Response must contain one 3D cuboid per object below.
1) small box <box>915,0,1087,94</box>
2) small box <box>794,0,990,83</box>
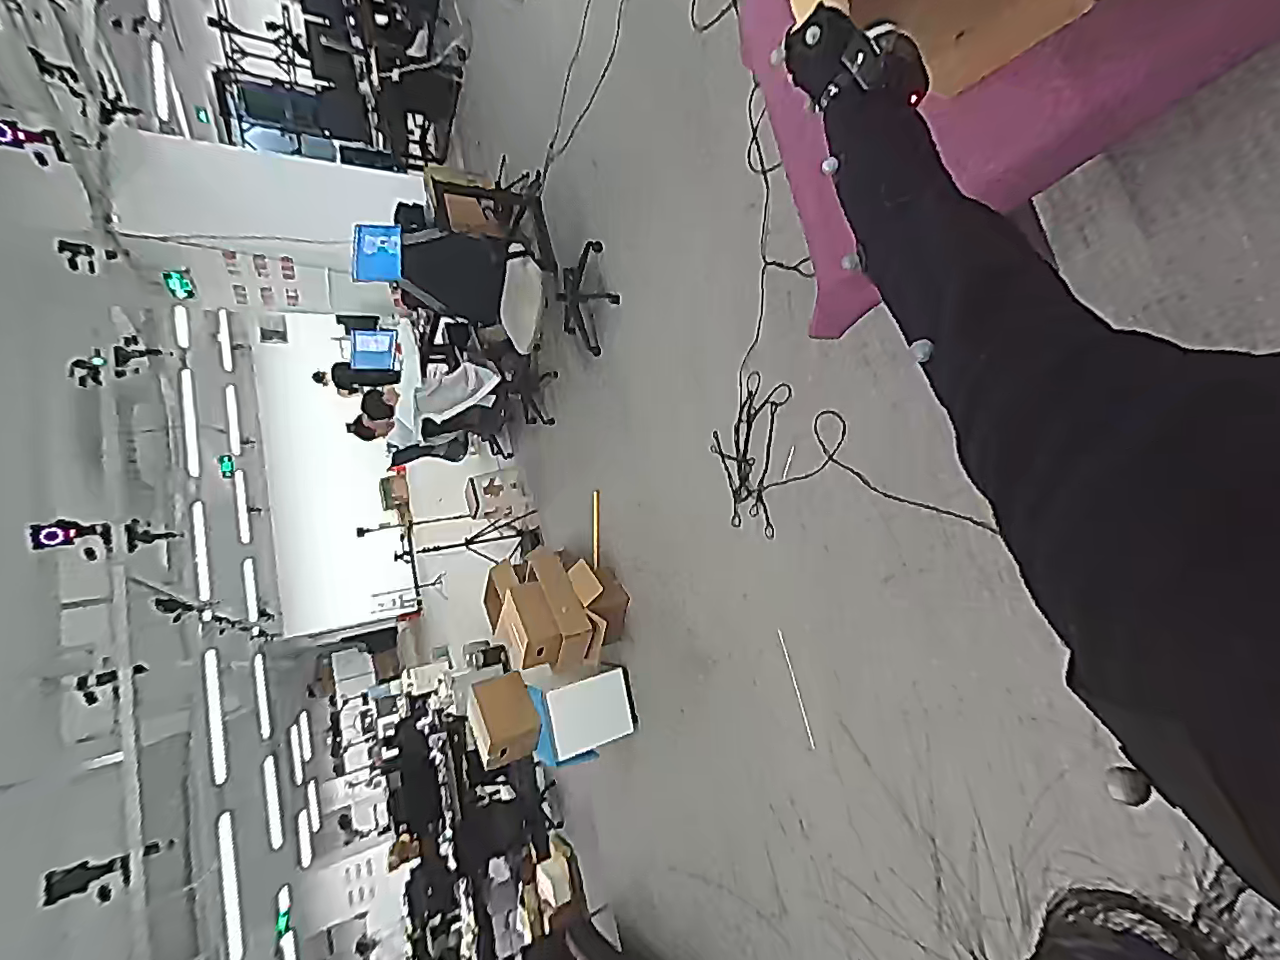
[{"bbox_3d":[0.406,-0.615,0.654,0.179,0.176,0.168,2,97,53],"label":"small box"},{"bbox_3d":[0.274,-0.568,0.560,0.179,0.176,0.168,-35,67,57],"label":"small box"}]
